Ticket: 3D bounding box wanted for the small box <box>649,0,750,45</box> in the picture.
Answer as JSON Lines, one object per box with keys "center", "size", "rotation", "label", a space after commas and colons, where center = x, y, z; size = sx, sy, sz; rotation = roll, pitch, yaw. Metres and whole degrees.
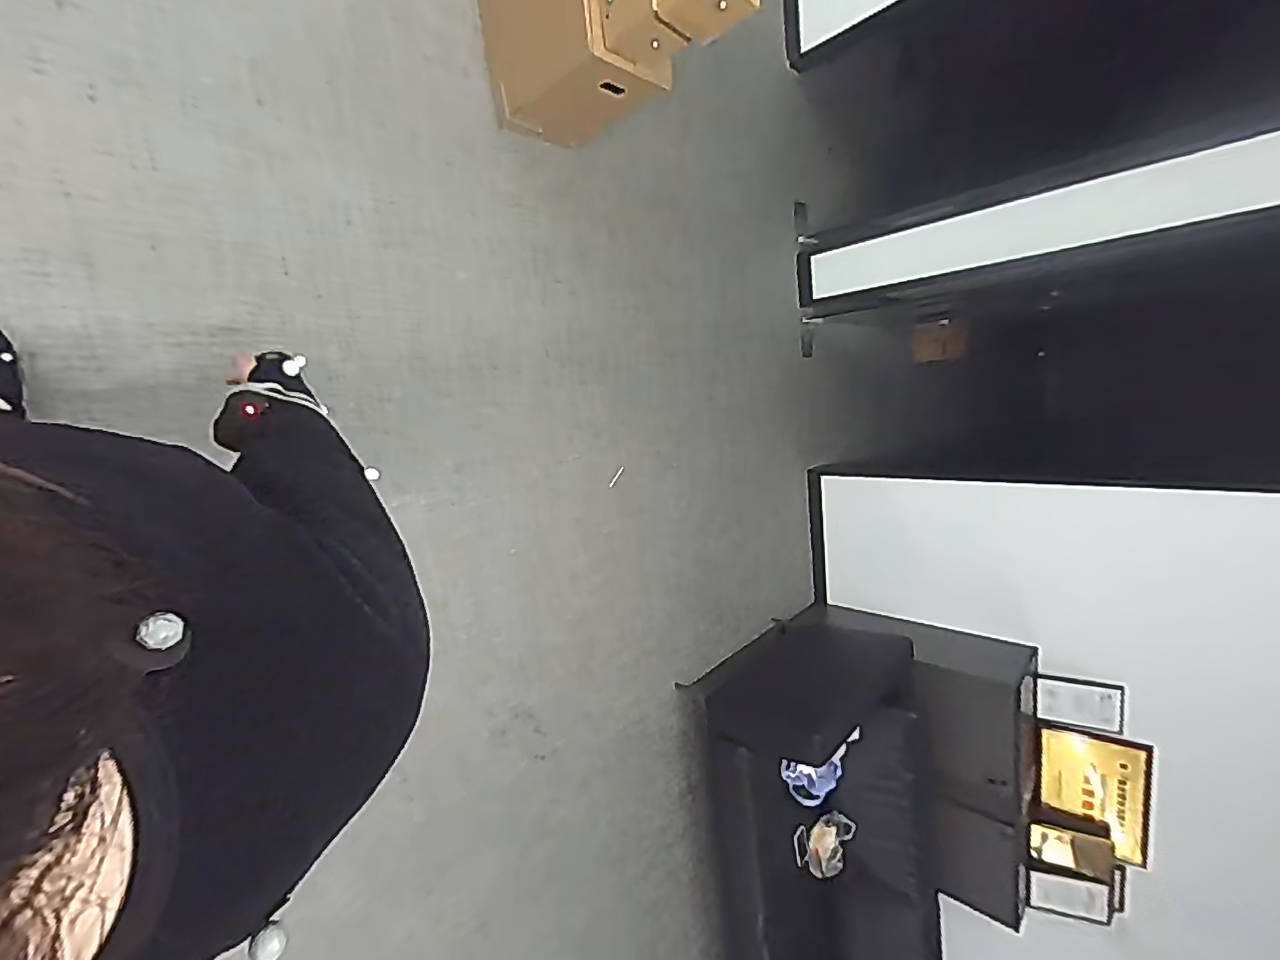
{"center": [0.135, -1.168, 1.260], "size": [0.179, 0.176, 0.168], "rotation": [-12, 99, -45], "label": "small box"}
